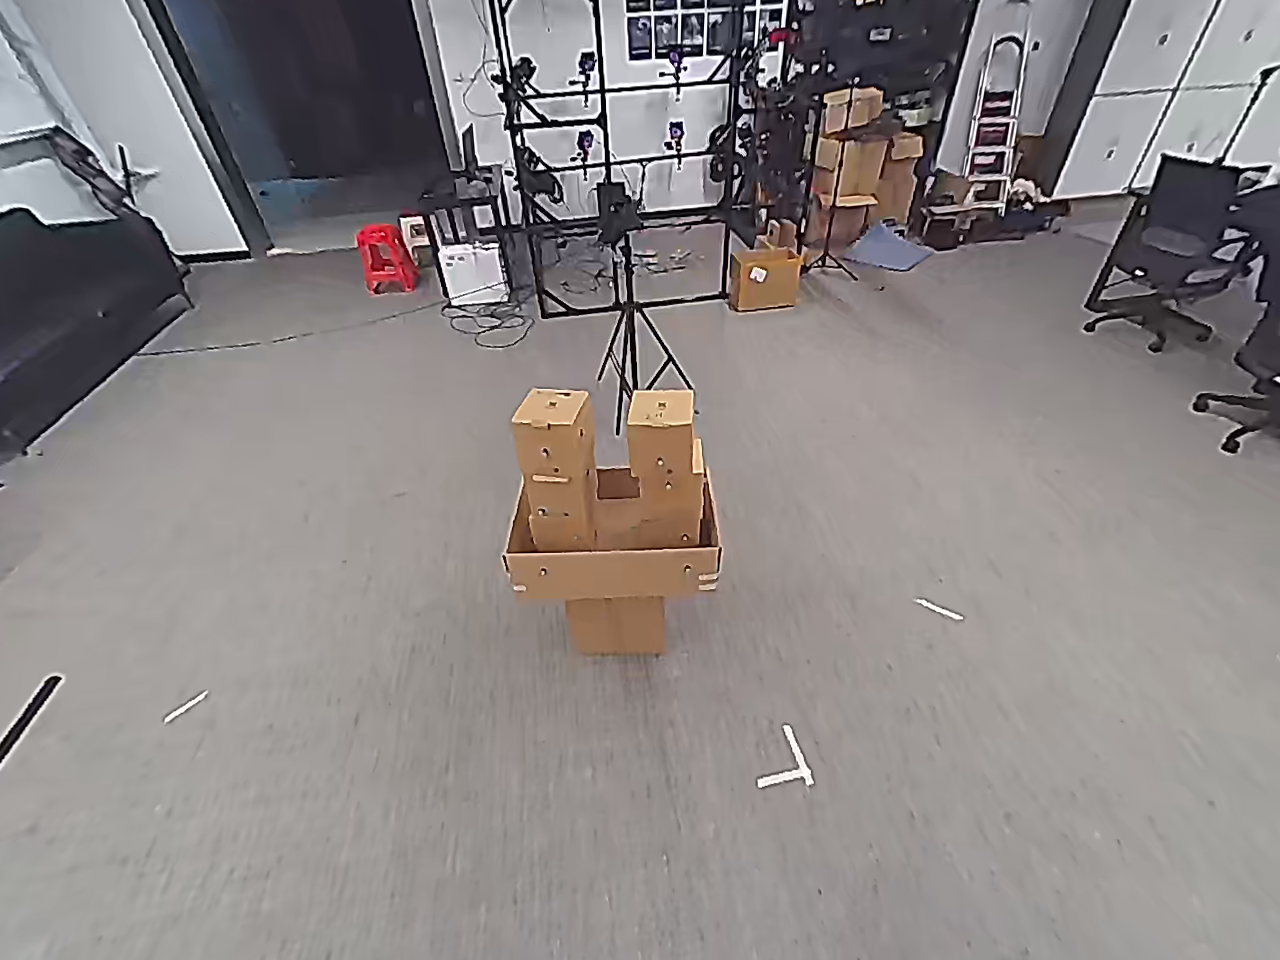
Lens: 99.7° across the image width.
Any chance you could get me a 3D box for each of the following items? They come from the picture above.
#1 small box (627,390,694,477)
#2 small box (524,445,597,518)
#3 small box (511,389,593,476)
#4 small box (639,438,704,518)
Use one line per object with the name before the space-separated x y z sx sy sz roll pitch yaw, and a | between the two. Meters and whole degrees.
small box | 0.060 -0.127 1.450 0.168 0.176 0.179 0 39 7
small box | -0.224 -0.005 1.579 0.168 0.176 0.179 3 39 7
small box | -0.230 -0.129 1.471 0.168 0.176 0.179 5 40 10
small box | 0.092 -0.005 1.558 0.179 0.176 0.168 -1 39 4
